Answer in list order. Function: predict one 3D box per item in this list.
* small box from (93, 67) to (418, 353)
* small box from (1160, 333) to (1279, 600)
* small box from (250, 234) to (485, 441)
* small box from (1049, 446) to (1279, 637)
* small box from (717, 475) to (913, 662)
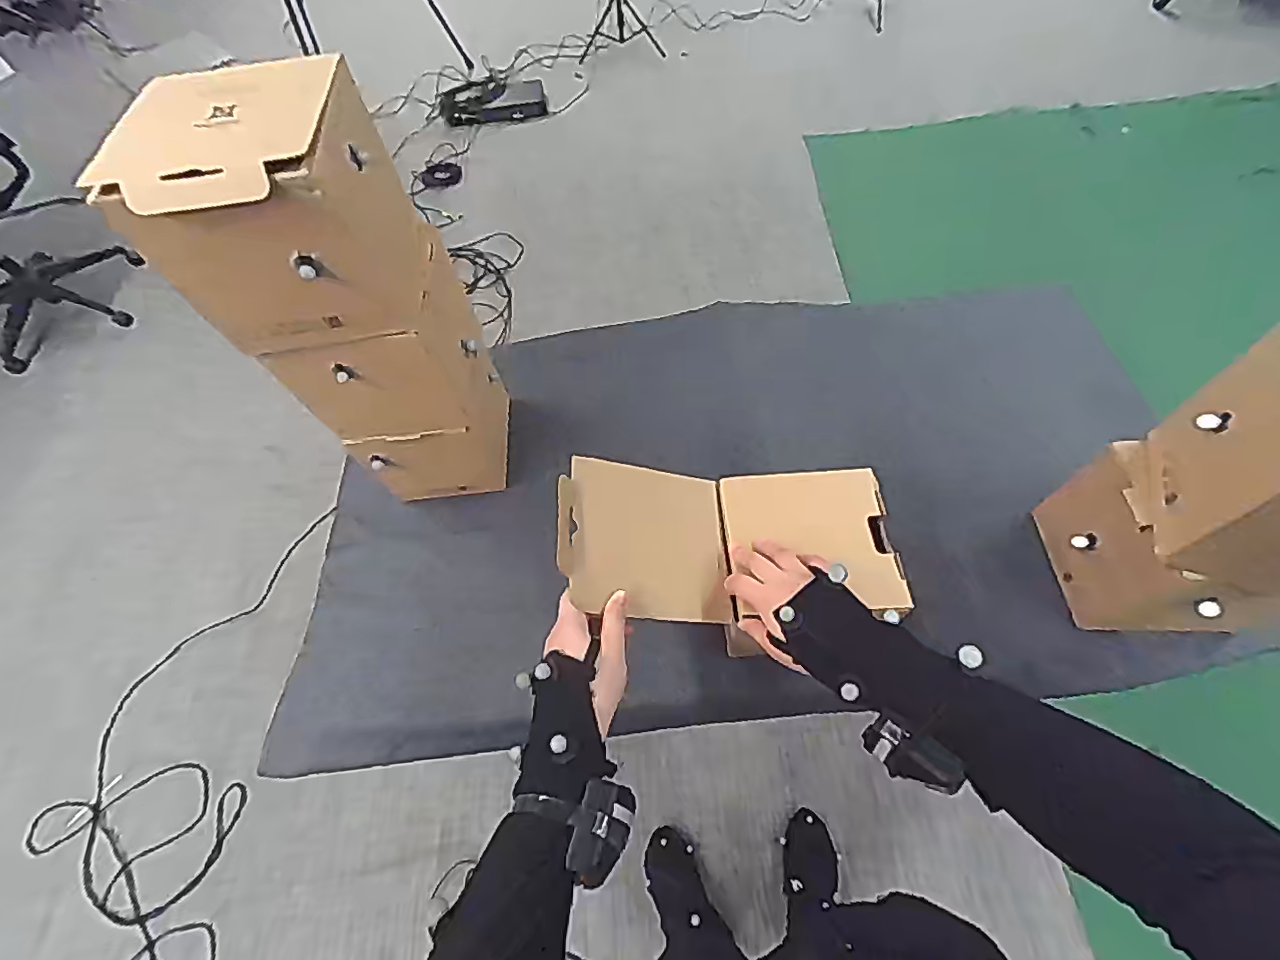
[{"bbox_3d":[-0.323,-0.236,0.502,0.168,0.176,0.179,-9,60,-1],"label":"small box"},{"bbox_3d":[0.601,0.003,0.466,0.179,0.176,0.168,18,61,15],"label":"small box"},{"bbox_3d":[-0.303,-0.159,0.644,0.179,0.176,0.168,-6,62,2],"label":"small box"},{"bbox_3d":[0.611,0.075,0.614,0.179,0.176,0.168,-1,58,6],"label":"small box"},{"bbox_3d":[0.186,0.111,0.638,0.179,0.176,0.168,-6,60,5],"label":"small box"}]
